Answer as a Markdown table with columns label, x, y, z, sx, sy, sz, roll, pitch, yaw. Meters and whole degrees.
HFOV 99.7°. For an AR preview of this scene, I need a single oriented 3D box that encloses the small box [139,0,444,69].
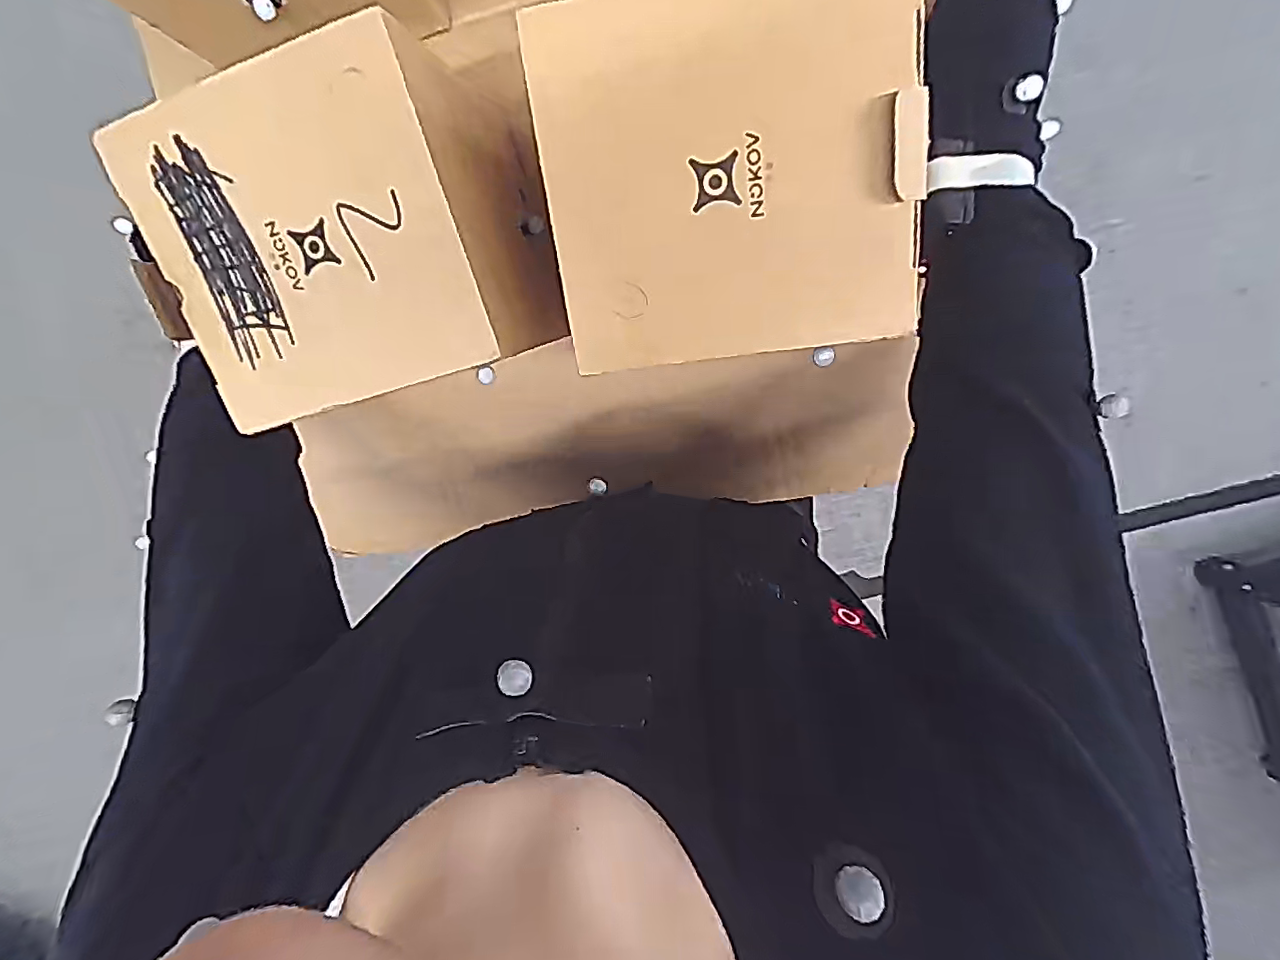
| label | x | y | z | sx | sy | sz | roll | pitch | yaw |
| --- | --- | --- | --- | --- | --- | --- | --- | --- | --- |
| small box | -0.240 | -0.385 | 0.316 | 0.168 | 0.176 | 0.179 | -9 | 98 | 10 |
